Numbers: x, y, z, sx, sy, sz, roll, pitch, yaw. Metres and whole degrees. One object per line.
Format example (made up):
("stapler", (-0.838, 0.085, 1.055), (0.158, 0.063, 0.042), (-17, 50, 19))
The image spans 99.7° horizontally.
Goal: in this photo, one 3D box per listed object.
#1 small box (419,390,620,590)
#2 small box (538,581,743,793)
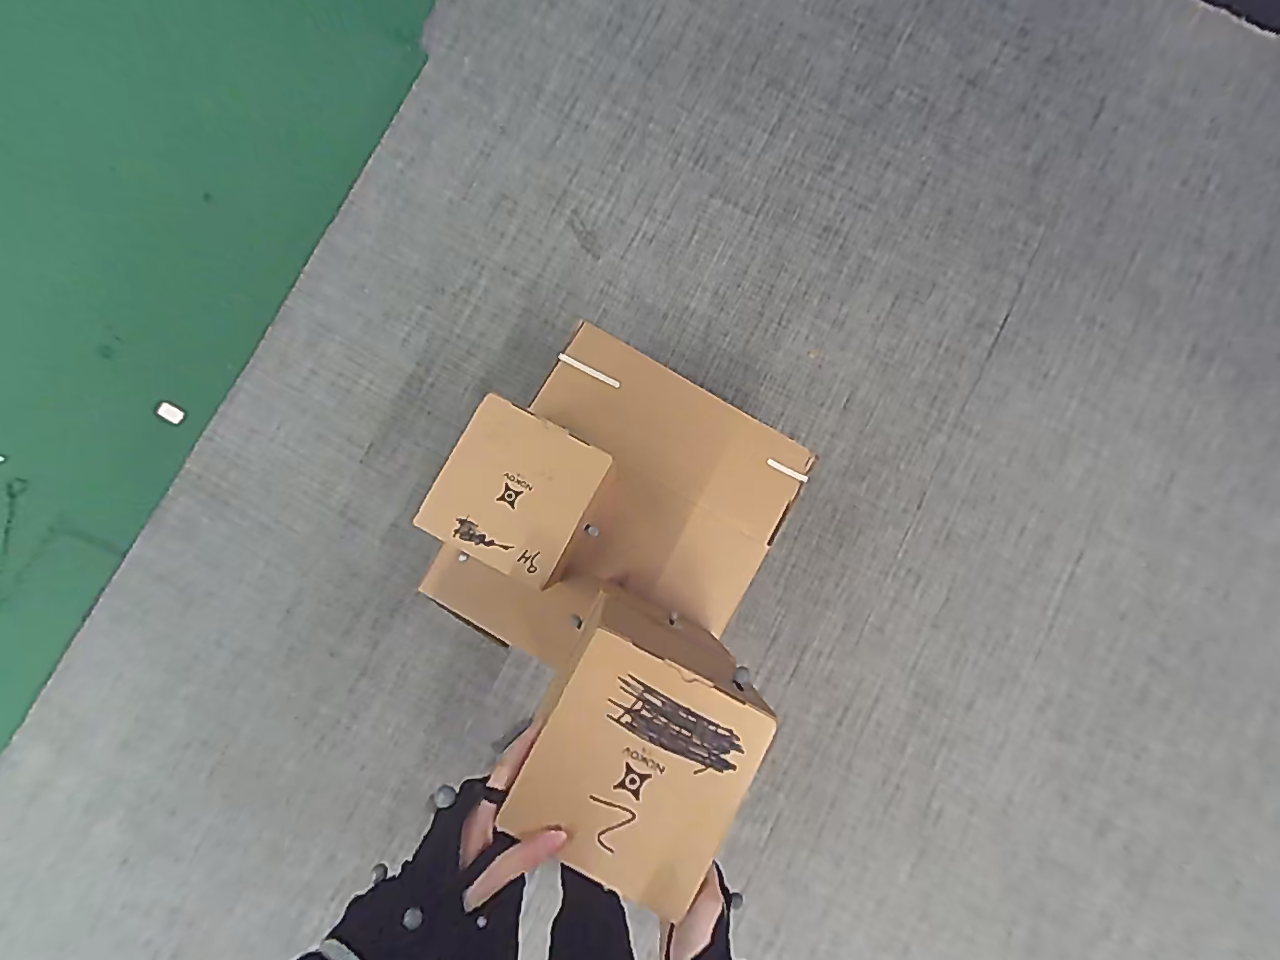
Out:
("small box", (-0.140, 0.018, 0.685), (0.168, 0.176, 0.179), (28, 83, 1))
("small box", (-0.001, 0.236, 0.670), (0.179, 0.176, 0.168), (27, 84, 0))
